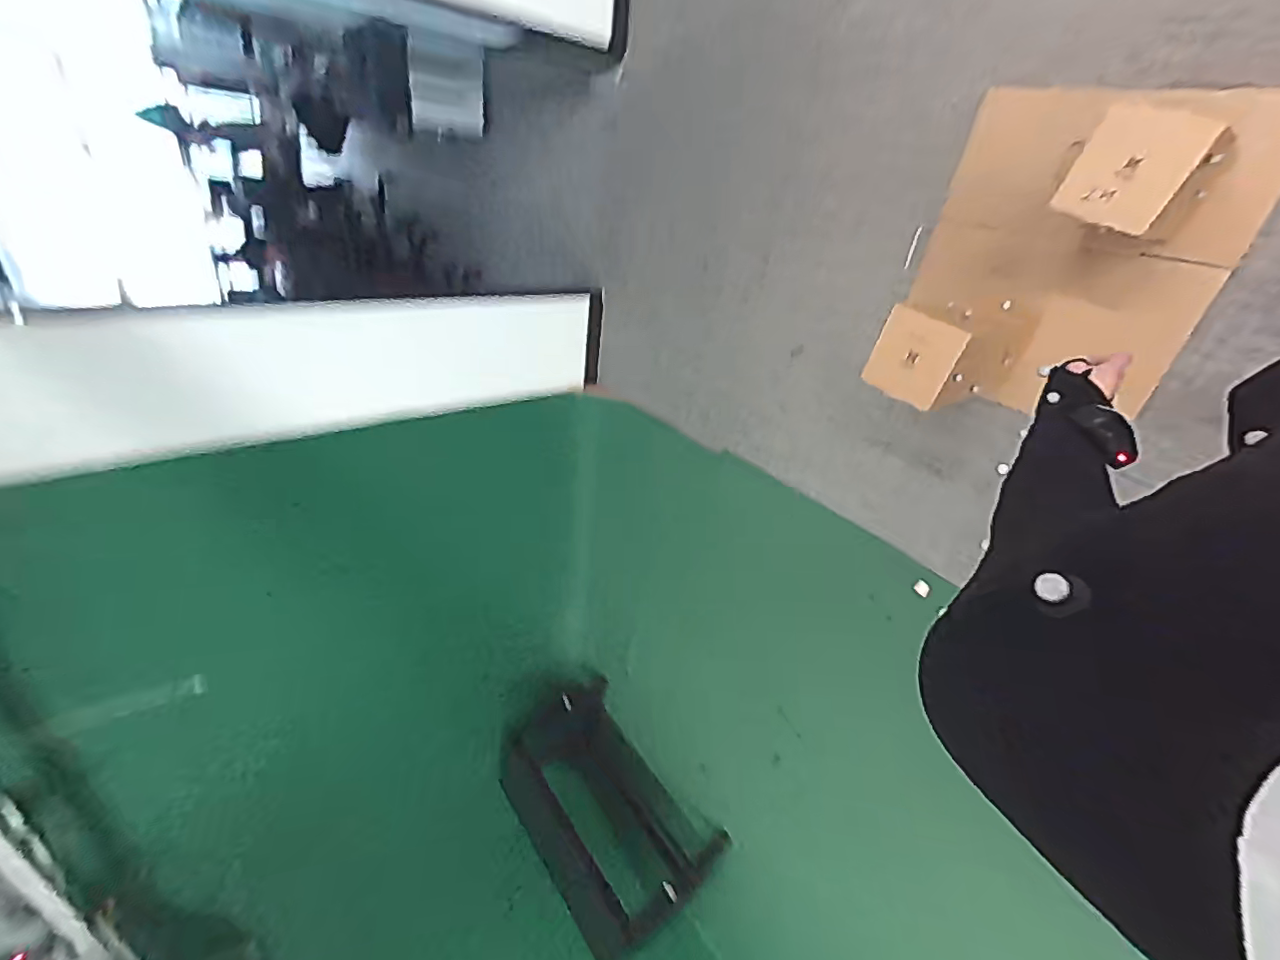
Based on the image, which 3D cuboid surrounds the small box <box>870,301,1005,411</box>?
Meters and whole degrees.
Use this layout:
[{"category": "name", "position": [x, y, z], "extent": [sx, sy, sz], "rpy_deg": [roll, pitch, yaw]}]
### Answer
[{"category": "small box", "position": [0.643, -0.273, 1.169], "extent": [0.168, 0.176, 0.179], "rpy_deg": [42, 133, 34]}]

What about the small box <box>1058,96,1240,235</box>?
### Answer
[{"category": "small box", "position": [0.916, -0.560, 0.976], "extent": [0.168, 0.176, 0.179], "rpy_deg": [46, 137, 33]}]

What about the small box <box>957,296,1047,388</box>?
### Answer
[{"category": "small box", "position": [0.886, -0.355, 1.374], "extent": [0.168, 0.176, 0.179], "rpy_deg": [41, 132, 36]}]

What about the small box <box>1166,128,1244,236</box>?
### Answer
[{"category": "small box", "position": [1.040, -0.602, 1.078], "extent": [0.168, 0.176, 0.179], "rpy_deg": [42, 134, 36]}]
